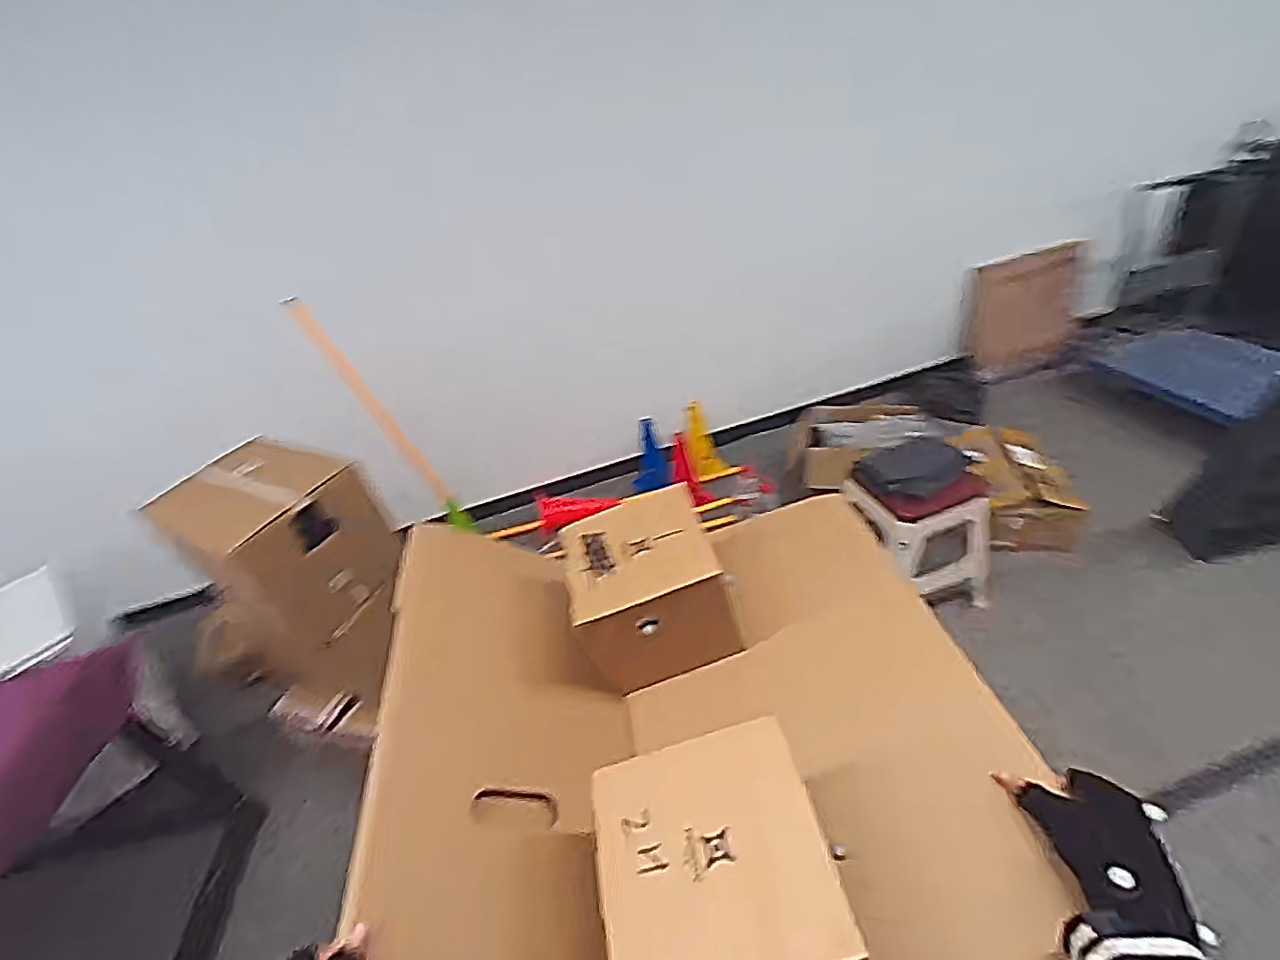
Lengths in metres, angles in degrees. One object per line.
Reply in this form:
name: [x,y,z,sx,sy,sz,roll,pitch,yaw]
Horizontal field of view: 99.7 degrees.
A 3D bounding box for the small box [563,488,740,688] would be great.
small box: [0.015,0.147,0.718,0.179,0.176,0.168,-21,40,2]
